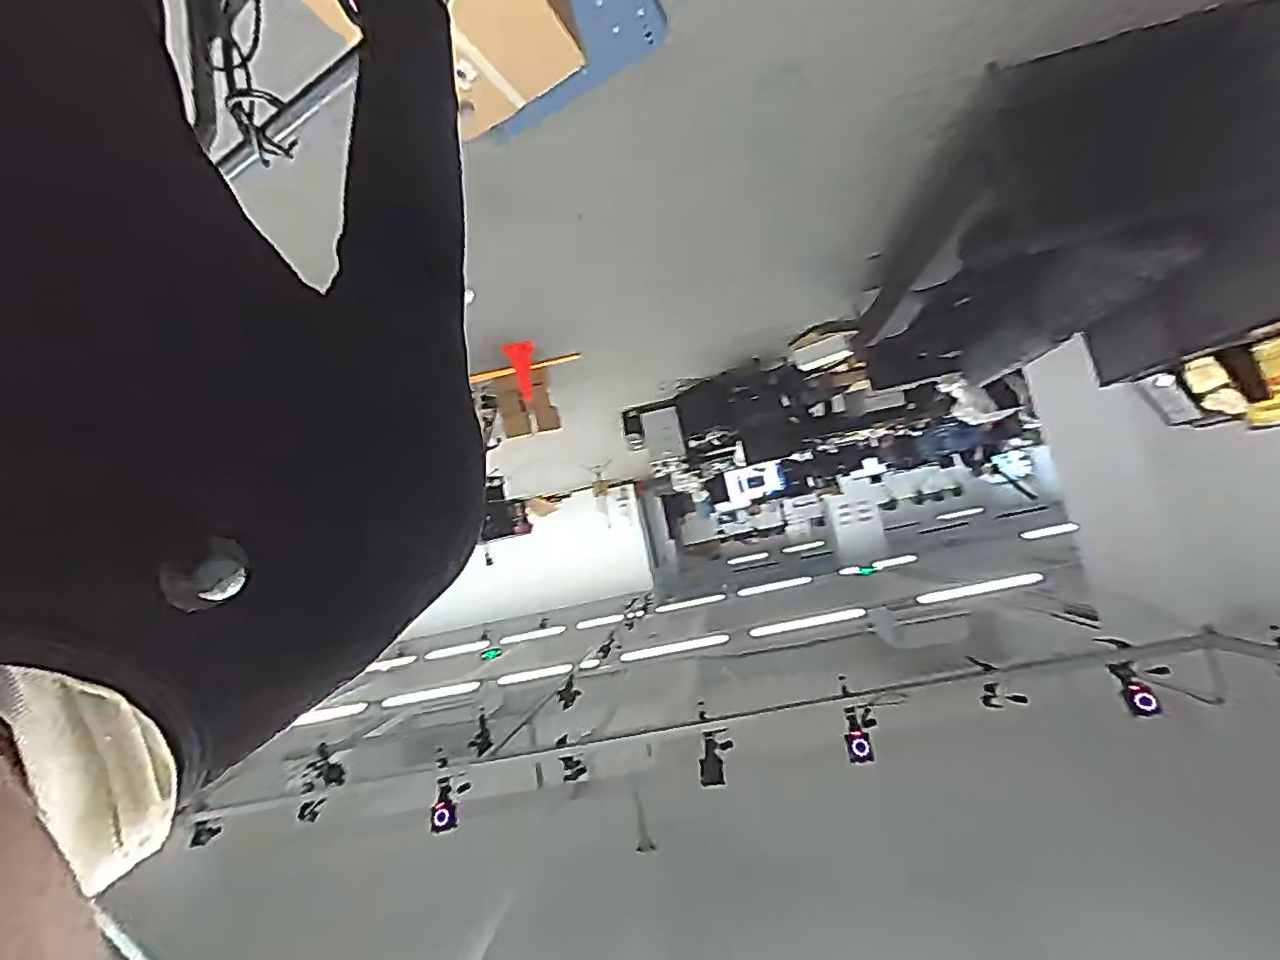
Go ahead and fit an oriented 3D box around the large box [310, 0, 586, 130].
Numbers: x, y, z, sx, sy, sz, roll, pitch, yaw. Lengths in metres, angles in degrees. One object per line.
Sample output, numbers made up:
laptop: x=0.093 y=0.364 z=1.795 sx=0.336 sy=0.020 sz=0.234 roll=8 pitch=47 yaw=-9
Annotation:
large box: x=-0.352 y=-0.930 z=0.934 sx=0.320 sy=0.320 sz=0.408 roll=-15 pitch=174 yaw=23
